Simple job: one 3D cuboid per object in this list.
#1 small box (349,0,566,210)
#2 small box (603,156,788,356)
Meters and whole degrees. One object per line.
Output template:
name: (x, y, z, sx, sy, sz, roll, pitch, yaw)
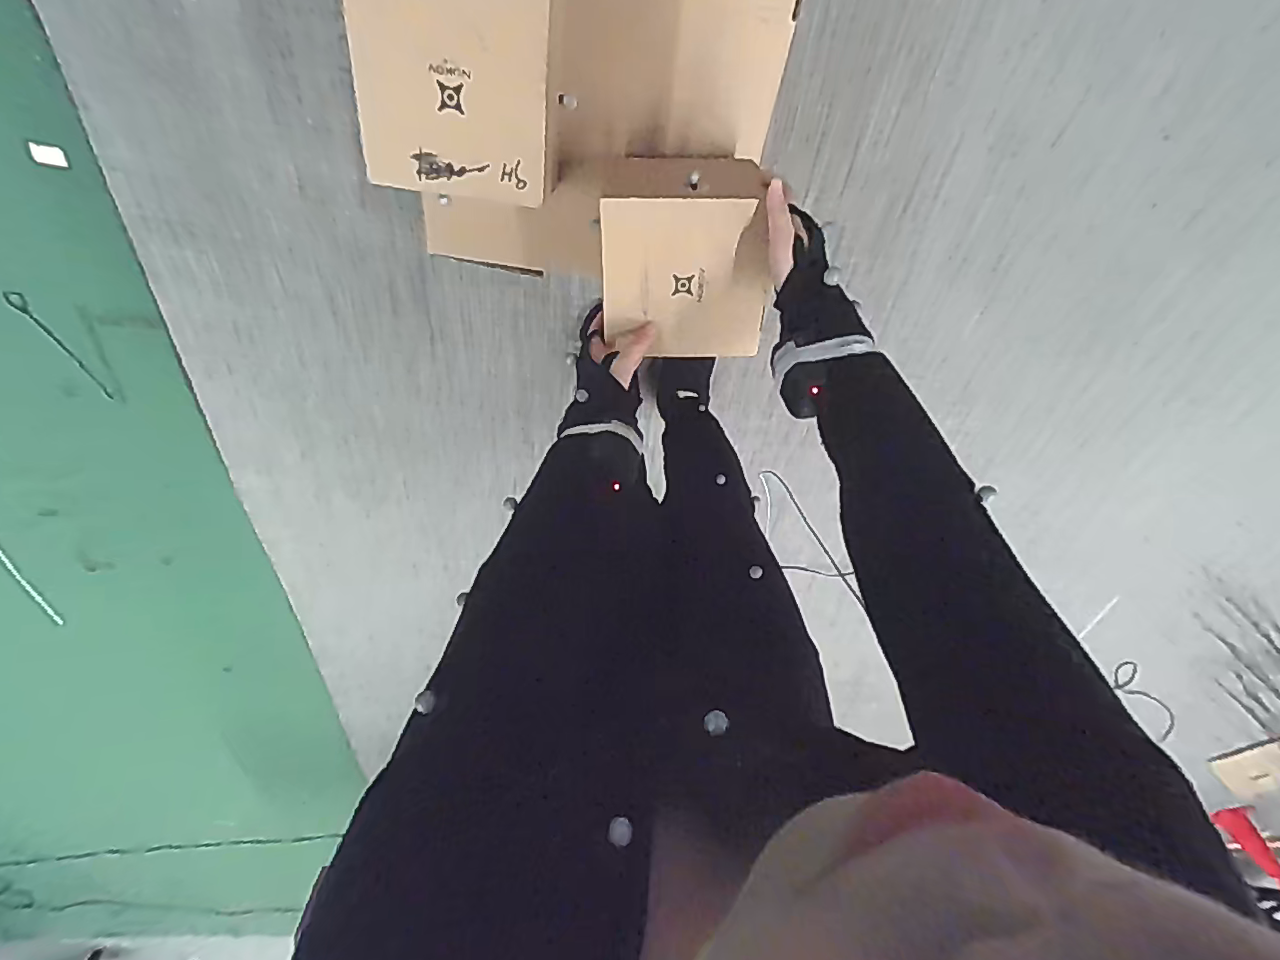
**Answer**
small box: (-0.164, -0.385, 0.532, 0.168, 0.176, 0.179, 5, 125, -7)
small box: (0.047, -0.255, 0.610, 0.179, 0.176, 0.168, -1, 132, -2)
